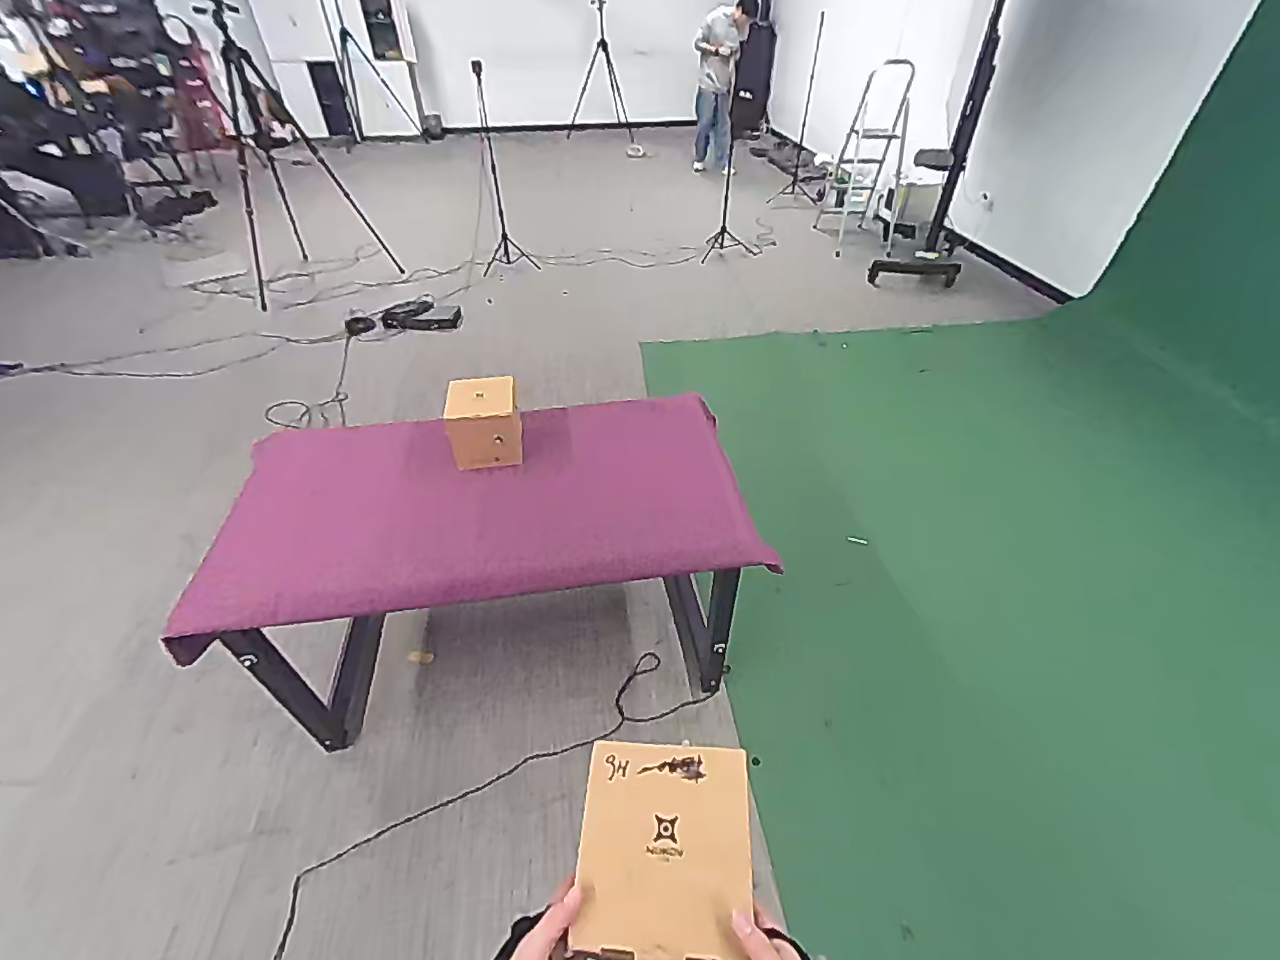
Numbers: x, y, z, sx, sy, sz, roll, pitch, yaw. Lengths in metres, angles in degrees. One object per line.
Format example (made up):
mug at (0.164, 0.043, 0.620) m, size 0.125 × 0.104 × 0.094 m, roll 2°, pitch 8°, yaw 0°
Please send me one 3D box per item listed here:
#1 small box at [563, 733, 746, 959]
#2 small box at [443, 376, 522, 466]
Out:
small box at (0.028, 0.394, 0.581) m, size 0.168 × 0.176 × 0.179 m, roll 0°, pitch 47°, yaw 7°
small box at (-0.404, -0.149, 1.419) m, size 0.168 × 0.176 × 0.179 m, roll -7°, pitch 43°, yaw -7°
